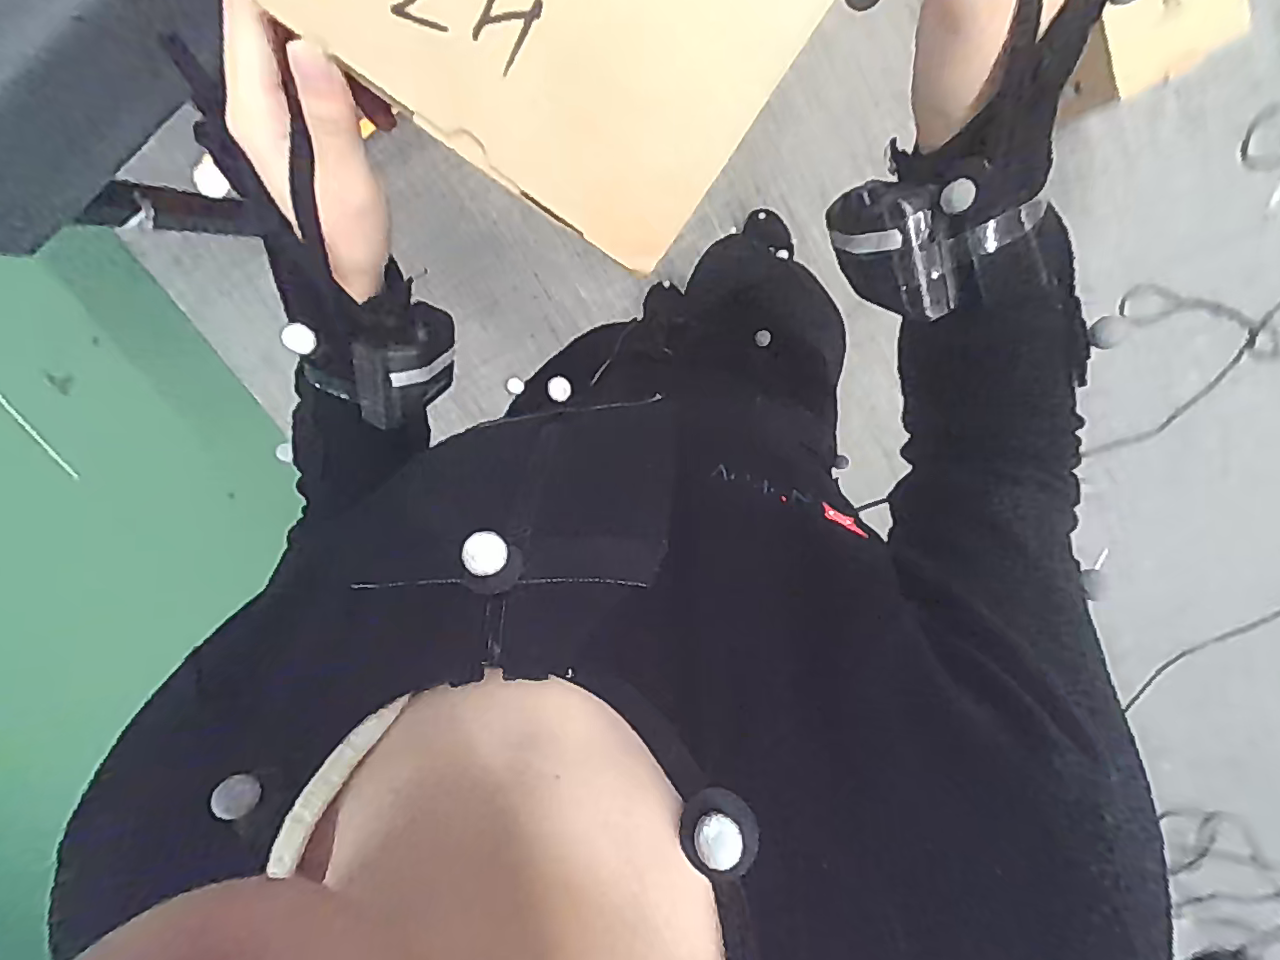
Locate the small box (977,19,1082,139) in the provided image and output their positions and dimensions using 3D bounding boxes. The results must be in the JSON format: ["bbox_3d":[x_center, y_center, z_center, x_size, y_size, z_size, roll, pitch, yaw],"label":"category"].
[{"bbox_3d":[0.729,-0.729,0.944,0.168,0.176,0.179,-24,108,14],"label":"small box"}]

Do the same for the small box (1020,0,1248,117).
[{"bbox_3d":[0.708,-0.671,0.793,0.168,0.176,0.179,-26,105,14],"label":"small box"}]
